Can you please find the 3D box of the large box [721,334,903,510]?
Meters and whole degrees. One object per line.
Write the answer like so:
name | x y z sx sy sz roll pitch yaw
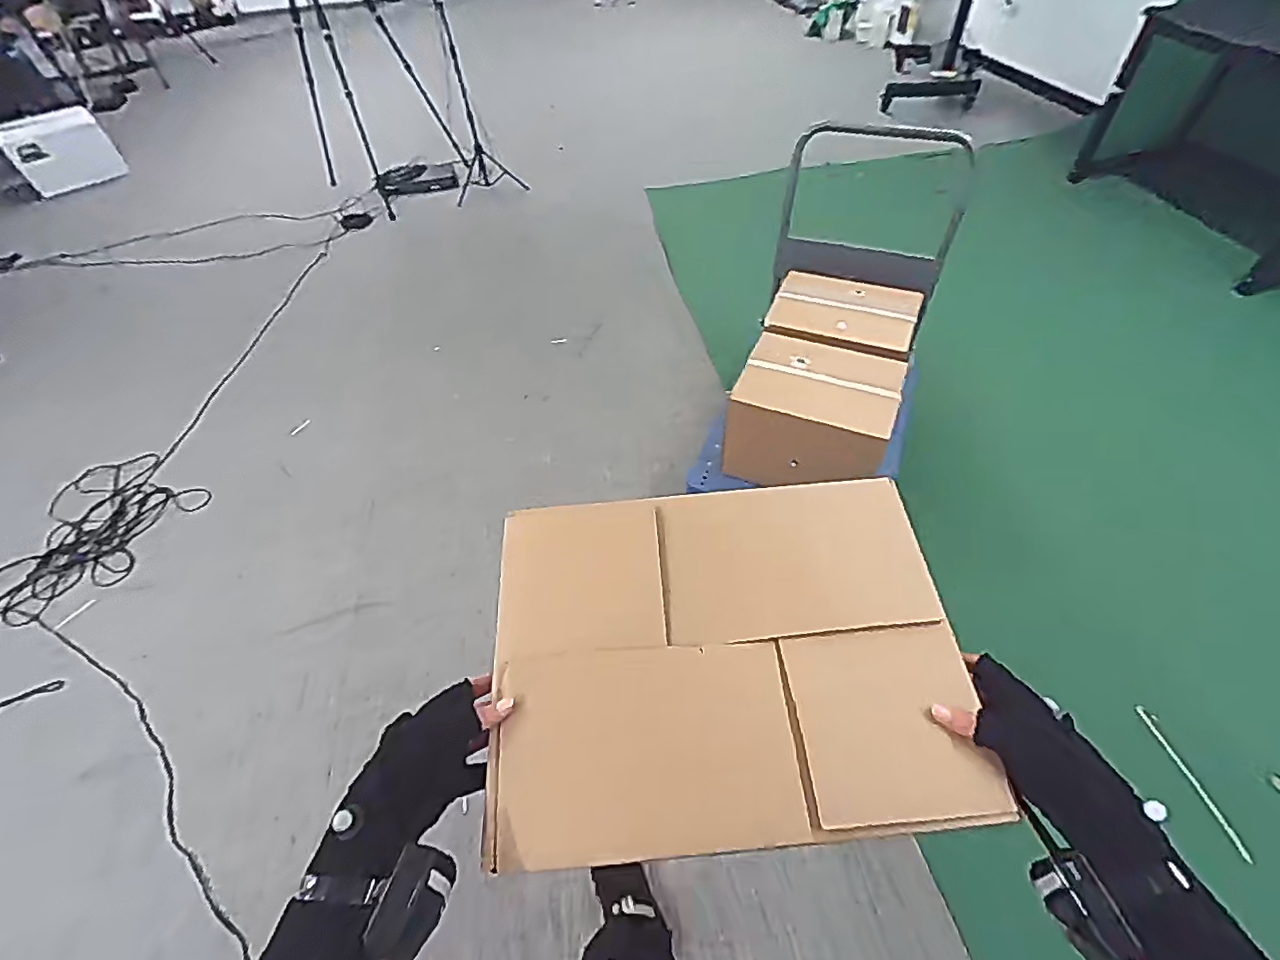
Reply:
large box | 0.474 -0.165 1.536 0.408 0.320 0.320 18 54 19
